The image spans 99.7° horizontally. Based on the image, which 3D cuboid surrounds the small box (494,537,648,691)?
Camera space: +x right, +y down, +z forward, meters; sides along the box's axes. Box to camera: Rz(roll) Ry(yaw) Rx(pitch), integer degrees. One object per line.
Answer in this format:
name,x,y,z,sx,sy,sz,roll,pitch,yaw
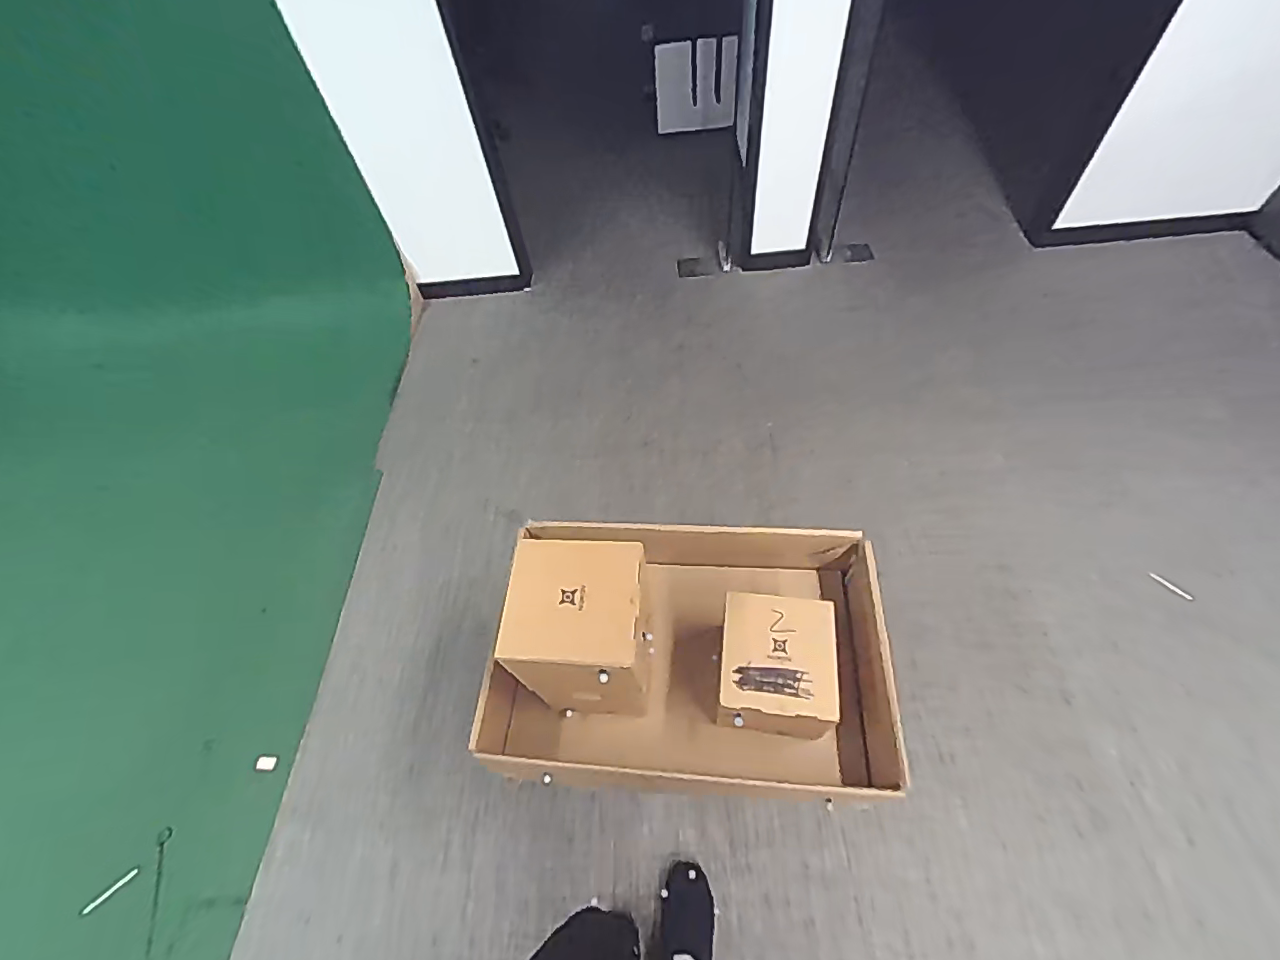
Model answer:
small box,-0.084,0.193,0.766,0.179,0.176,0.168,2,57,5
